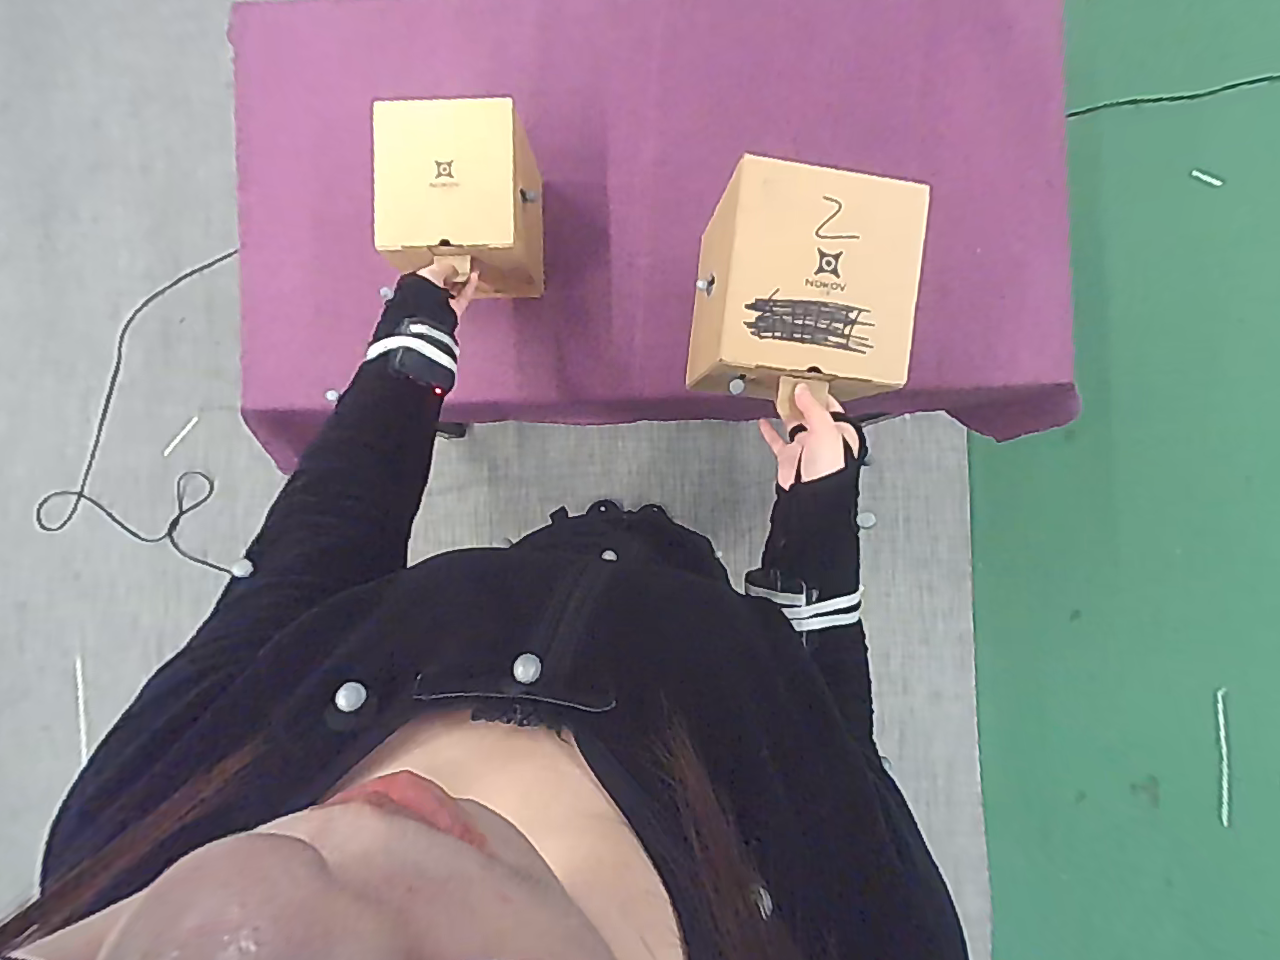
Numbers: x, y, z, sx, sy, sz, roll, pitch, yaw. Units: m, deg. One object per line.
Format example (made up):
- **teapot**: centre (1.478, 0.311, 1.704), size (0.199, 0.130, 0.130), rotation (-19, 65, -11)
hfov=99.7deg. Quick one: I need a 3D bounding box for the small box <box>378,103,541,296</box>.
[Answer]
- **small box**: centre (-0.230, -0.362, 0.724), size (0.168, 0.176, 0.179), rotation (0, 90, 1)
